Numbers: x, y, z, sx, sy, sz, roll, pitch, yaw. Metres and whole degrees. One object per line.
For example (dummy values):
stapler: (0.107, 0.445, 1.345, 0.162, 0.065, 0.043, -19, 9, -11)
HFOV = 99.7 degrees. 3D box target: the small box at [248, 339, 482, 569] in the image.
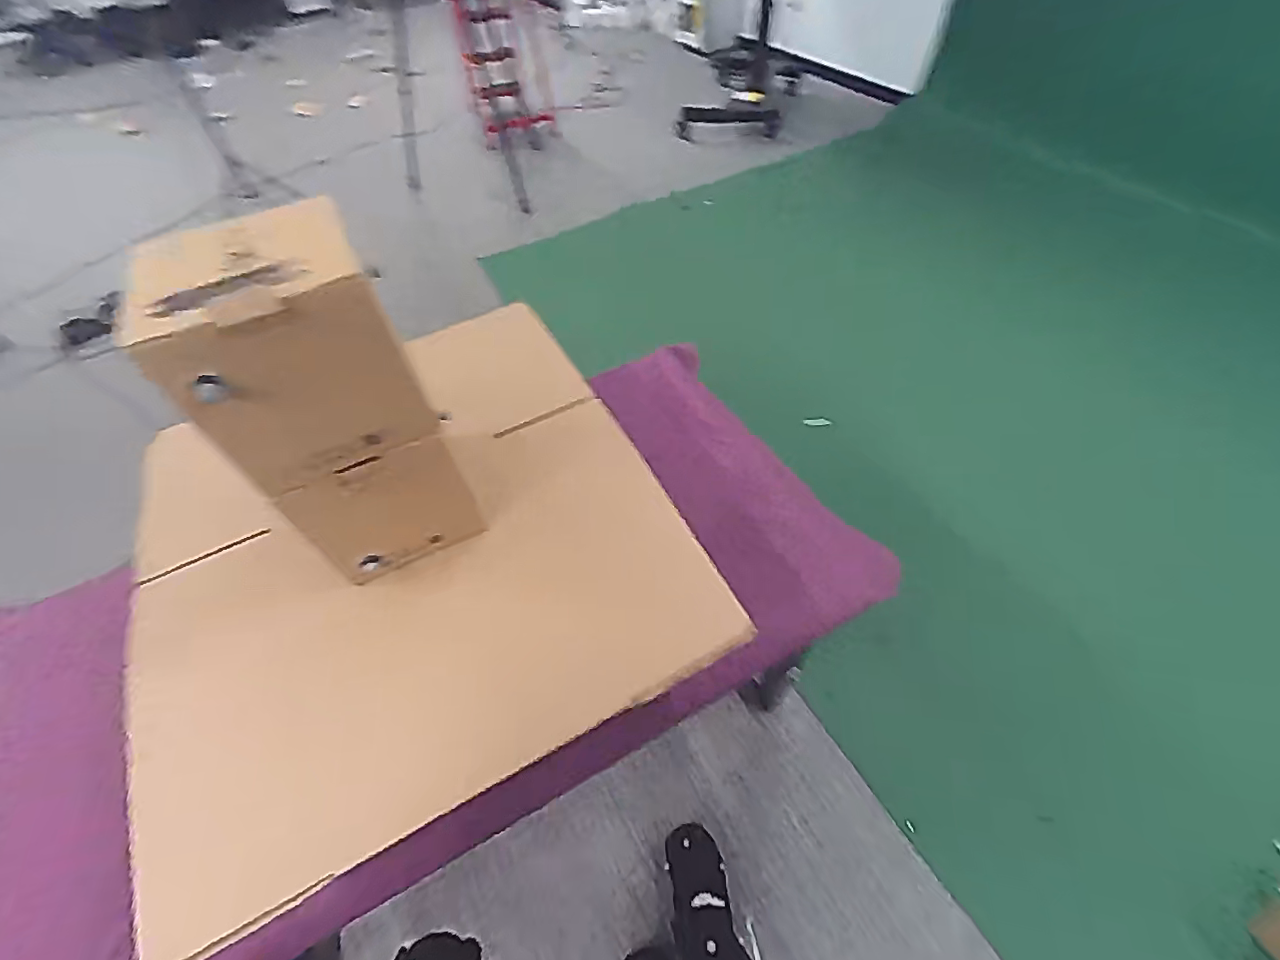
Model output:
small box: (-0.302, -0.022, 0.617, 0.168, 0.176, 0.179, -27, 56, -16)
